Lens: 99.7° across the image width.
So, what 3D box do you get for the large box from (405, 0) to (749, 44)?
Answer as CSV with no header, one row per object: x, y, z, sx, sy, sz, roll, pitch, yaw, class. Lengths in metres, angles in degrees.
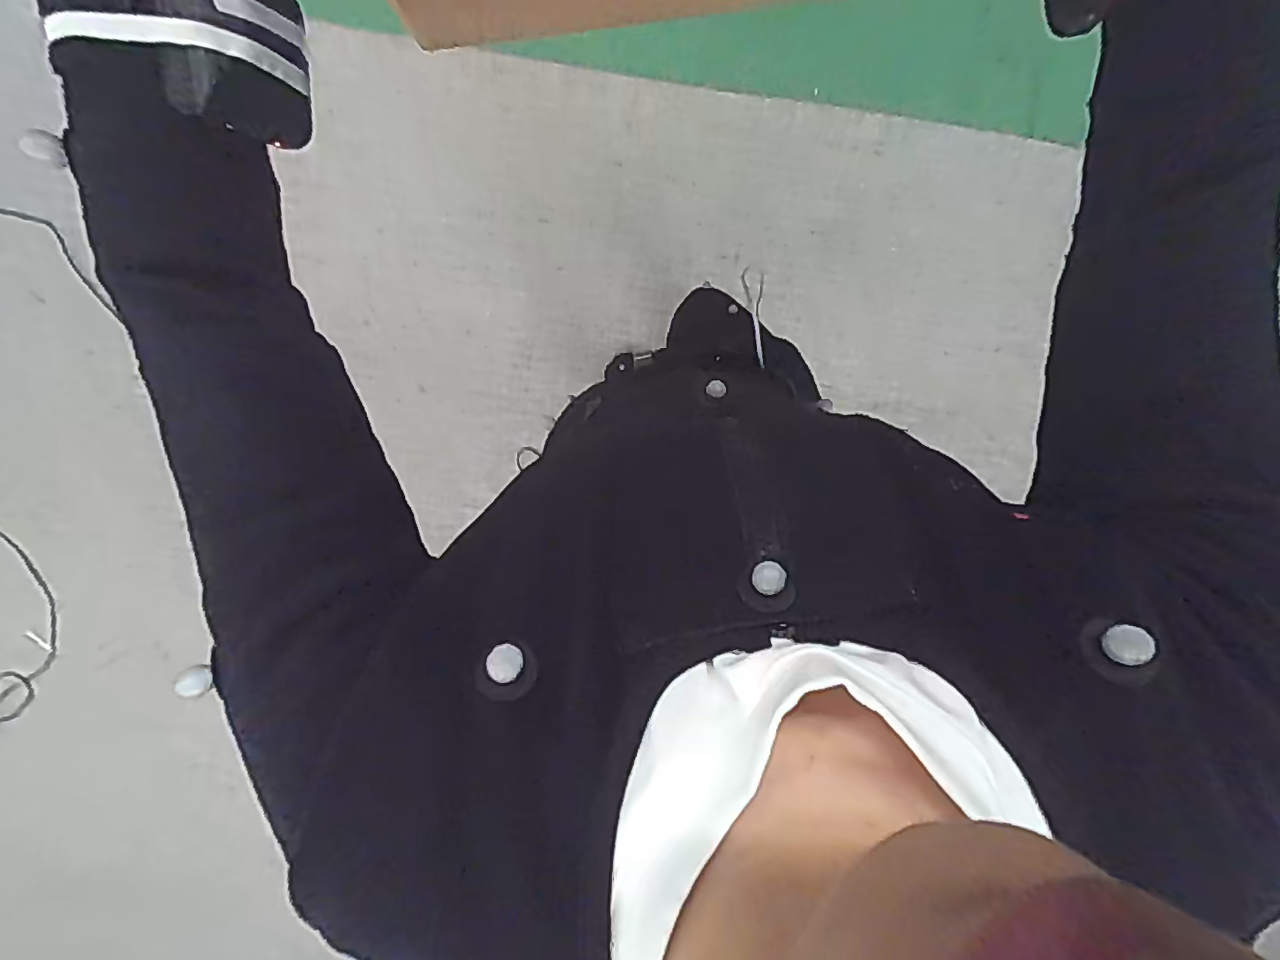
-0.004,-0.516,0.294,0.408,0.320,0.320,-8,105,-1,large box
